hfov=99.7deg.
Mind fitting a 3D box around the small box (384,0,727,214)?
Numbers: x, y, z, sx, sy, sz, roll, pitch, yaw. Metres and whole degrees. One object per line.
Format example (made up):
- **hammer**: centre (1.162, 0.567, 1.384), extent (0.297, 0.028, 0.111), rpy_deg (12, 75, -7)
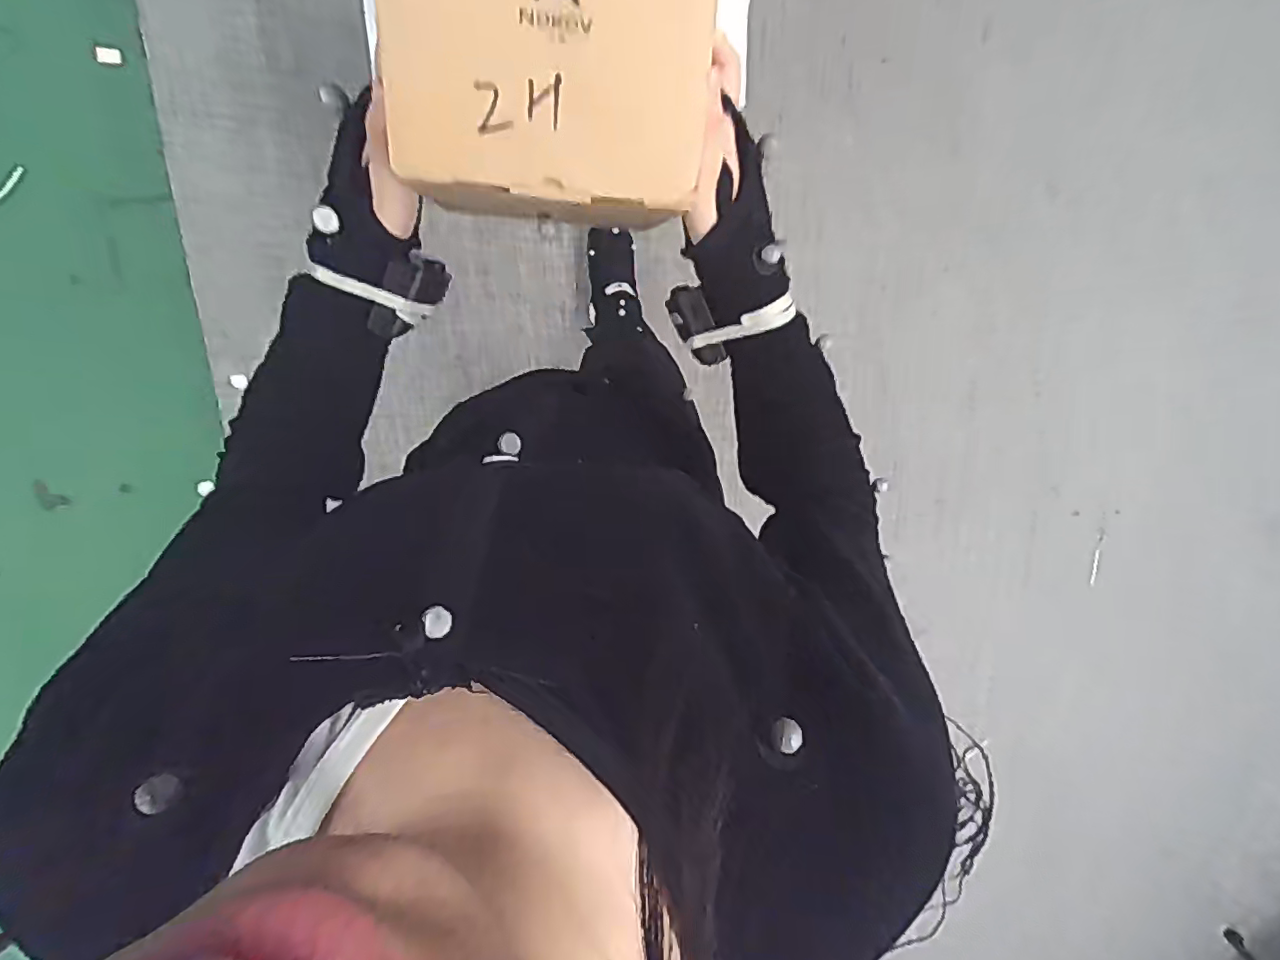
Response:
- **small box**: centre (-0.050, -0.274, 0.328), extent (0.168, 0.176, 0.179), rpy_deg (0, 111, -10)
